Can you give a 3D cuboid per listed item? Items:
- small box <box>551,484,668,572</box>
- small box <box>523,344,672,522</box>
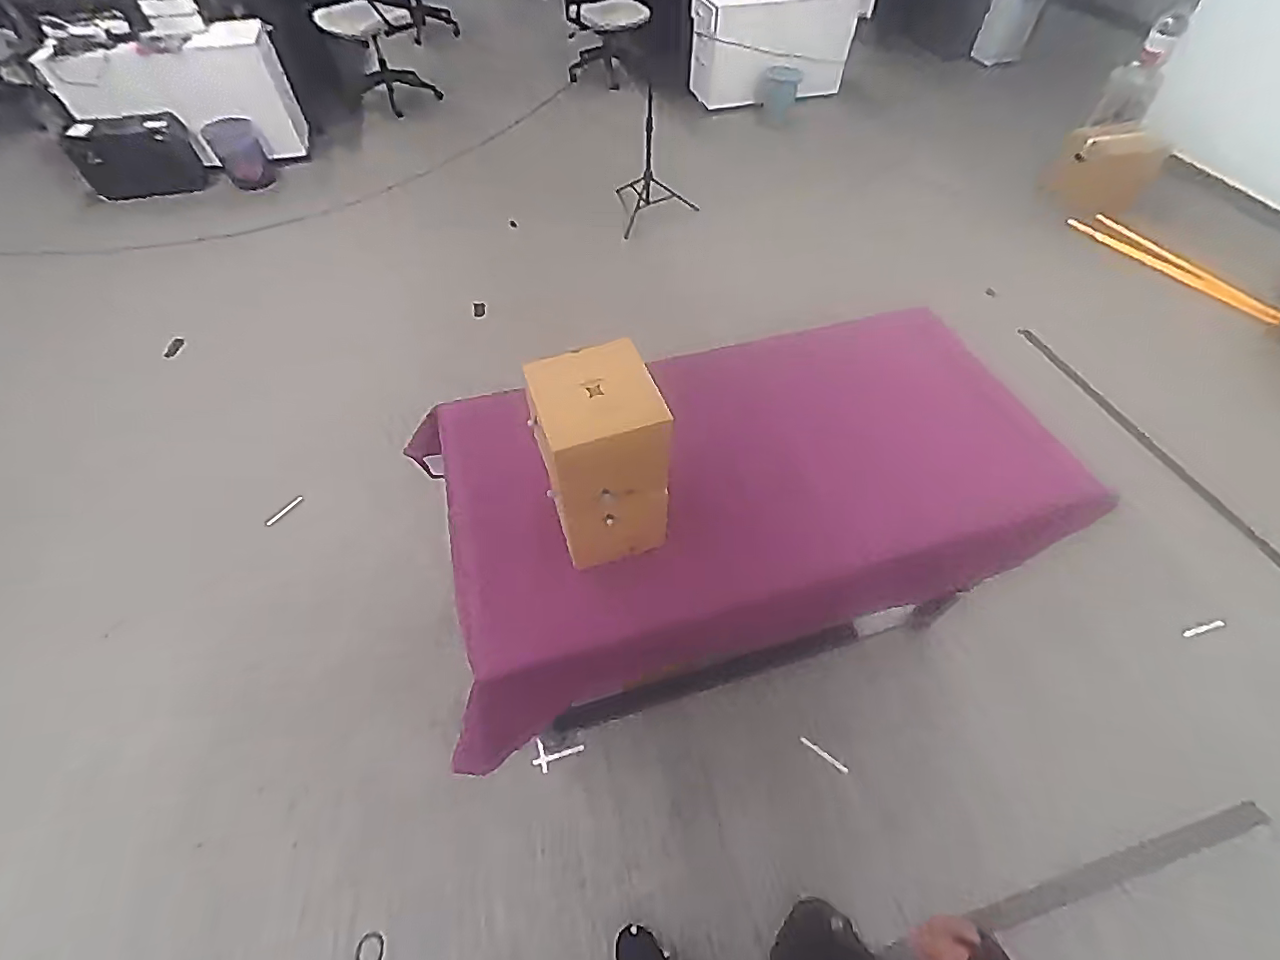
[{"bbox_3d":[-0.060,0.029,0.931,0.168,0.176,0.179,-15,55,-11],"label":"small box"},{"bbox_3d":[-0.064,-0.068,0.799,0.168,0.176,0.179,-17,56,-12],"label":"small box"}]
